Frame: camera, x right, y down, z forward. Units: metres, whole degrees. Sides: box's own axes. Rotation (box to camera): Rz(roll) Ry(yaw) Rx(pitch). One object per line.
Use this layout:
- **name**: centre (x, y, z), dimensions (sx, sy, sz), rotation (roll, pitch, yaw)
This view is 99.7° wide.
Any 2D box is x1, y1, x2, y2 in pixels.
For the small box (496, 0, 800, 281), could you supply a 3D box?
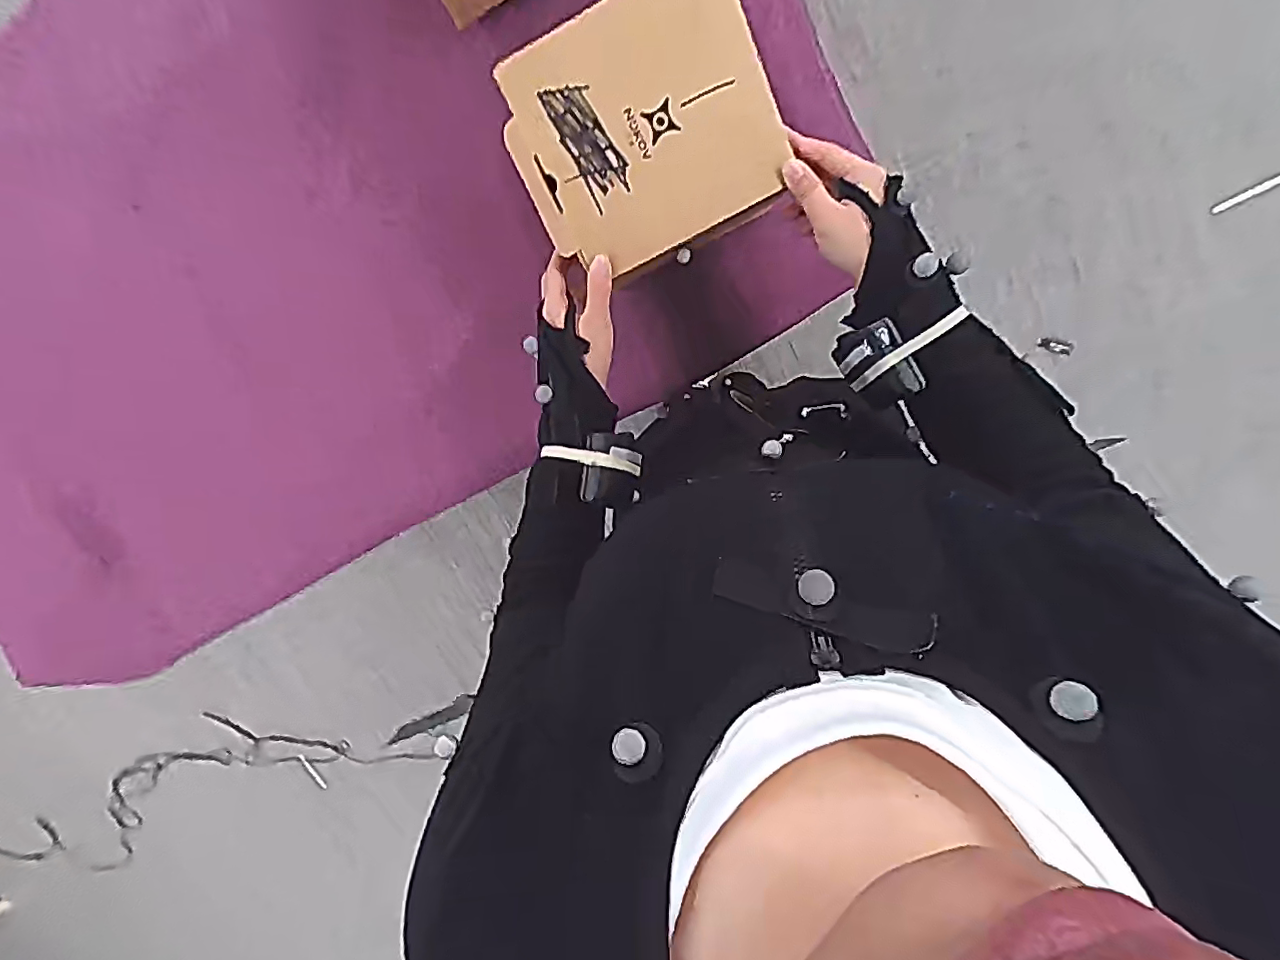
- **small box**: centre (0.012, -0.285, 0.465), dimensions (0.179, 0.176, 0.168), rotation (-24, 106, 10)
